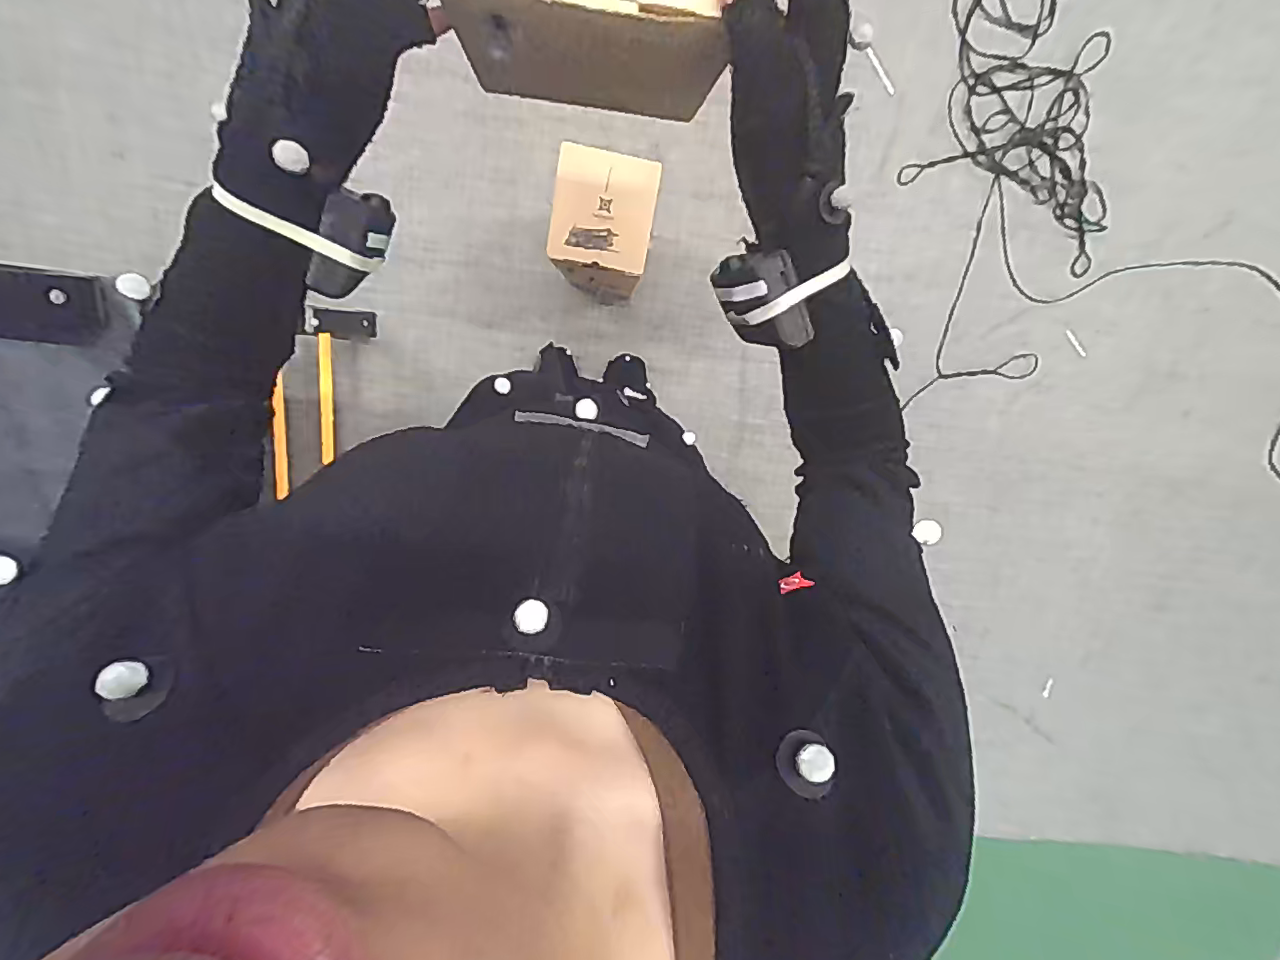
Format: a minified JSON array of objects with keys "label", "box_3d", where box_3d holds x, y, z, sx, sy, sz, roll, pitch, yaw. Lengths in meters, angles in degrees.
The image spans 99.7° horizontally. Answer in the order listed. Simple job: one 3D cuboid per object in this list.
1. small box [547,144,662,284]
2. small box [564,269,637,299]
[{"label":"small box","box_3d":[-0.063,-0.458,0.962,0.168,0.176,0.179,10,104,-6]},{"label":"small box","box_3d":[-0.077,-0.540,1.277,0.168,0.176,0.179,12,104,-5]}]
